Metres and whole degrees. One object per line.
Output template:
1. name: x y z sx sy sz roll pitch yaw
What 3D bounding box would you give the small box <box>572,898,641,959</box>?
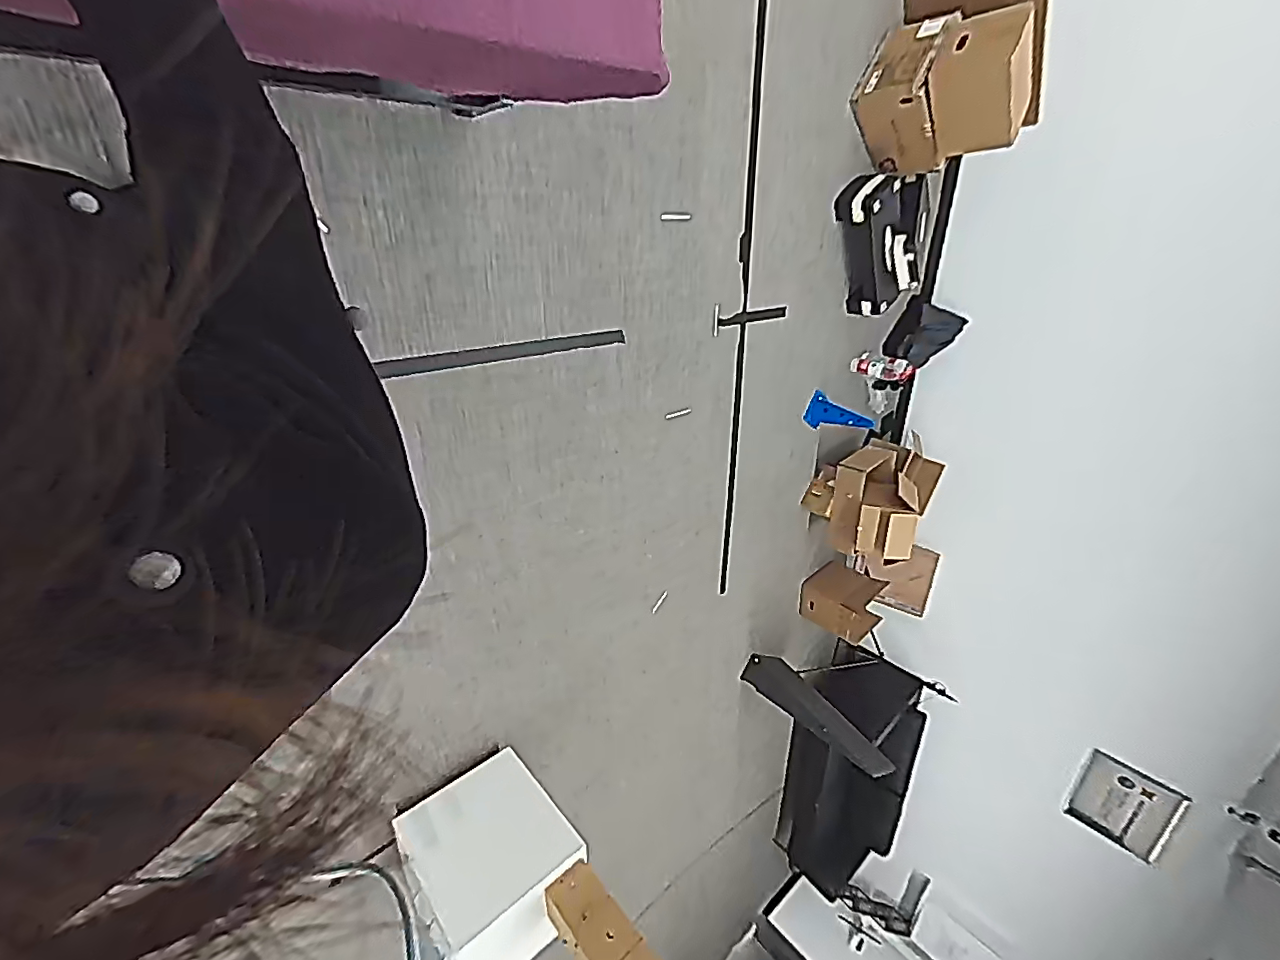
1. small box: -0.116 1.566 1.802 0.179 0.176 0.168 -20 123 -37

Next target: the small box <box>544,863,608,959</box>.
1. small box: -0.225 1.516 1.915 0.168 0.176 0.179 -20 123 -37
